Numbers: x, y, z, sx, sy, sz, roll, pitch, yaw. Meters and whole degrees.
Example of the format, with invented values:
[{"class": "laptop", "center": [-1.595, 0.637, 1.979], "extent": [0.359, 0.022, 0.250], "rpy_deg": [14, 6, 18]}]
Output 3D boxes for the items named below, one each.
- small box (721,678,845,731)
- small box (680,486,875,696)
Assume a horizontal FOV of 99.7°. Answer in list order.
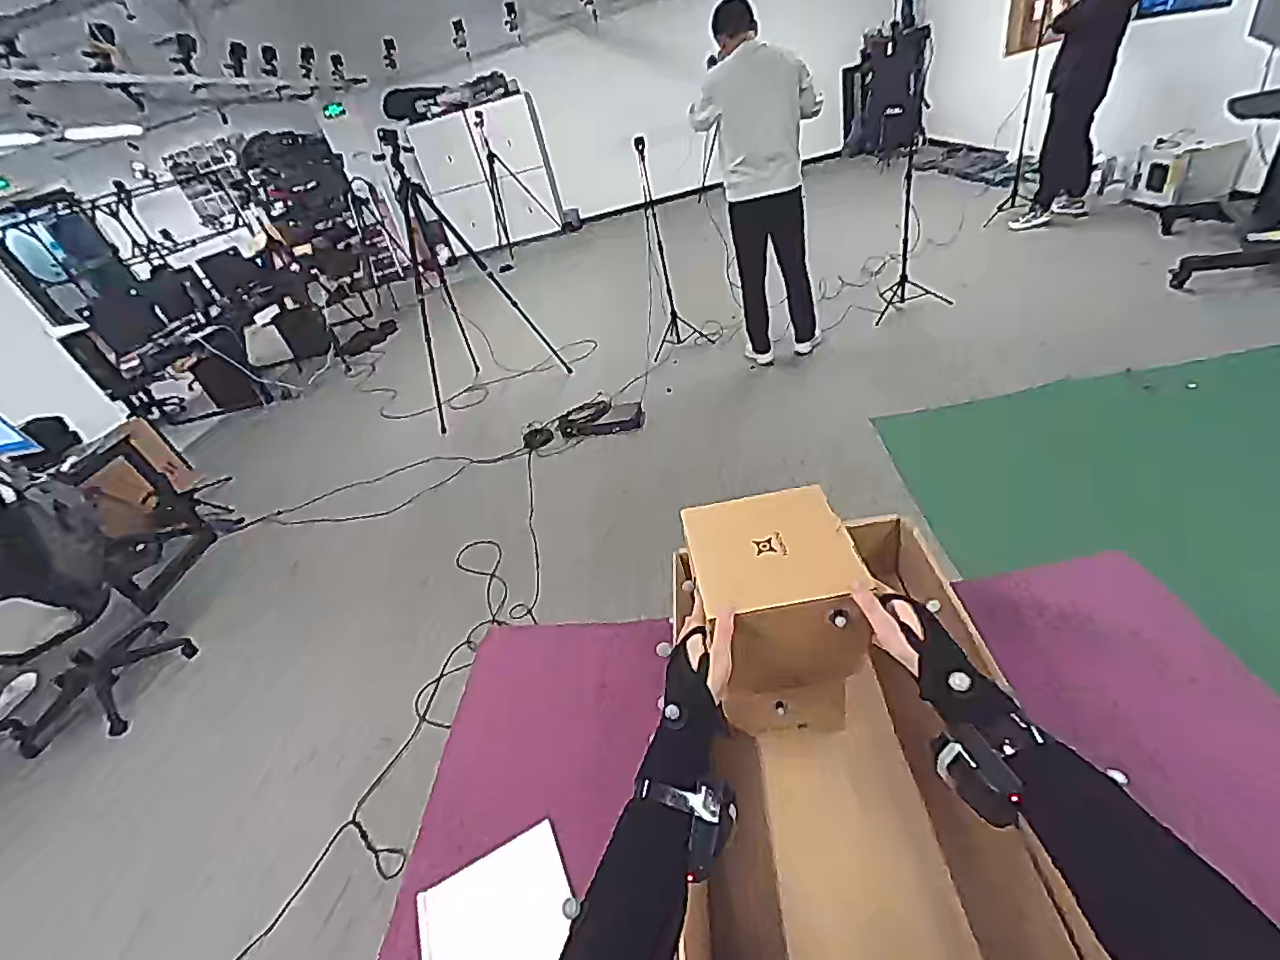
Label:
[{"class": "small box", "center": [0.199, 0.252, 0.798], "extent": [0.168, 0.176, 0.179], "rpy_deg": [-10, 36, 10]}, {"class": "small box", "center": [0.154, 0.134, 0.643], "extent": [0.179, 0.176, 0.168], "rpy_deg": [-11, 40, 1]}]
